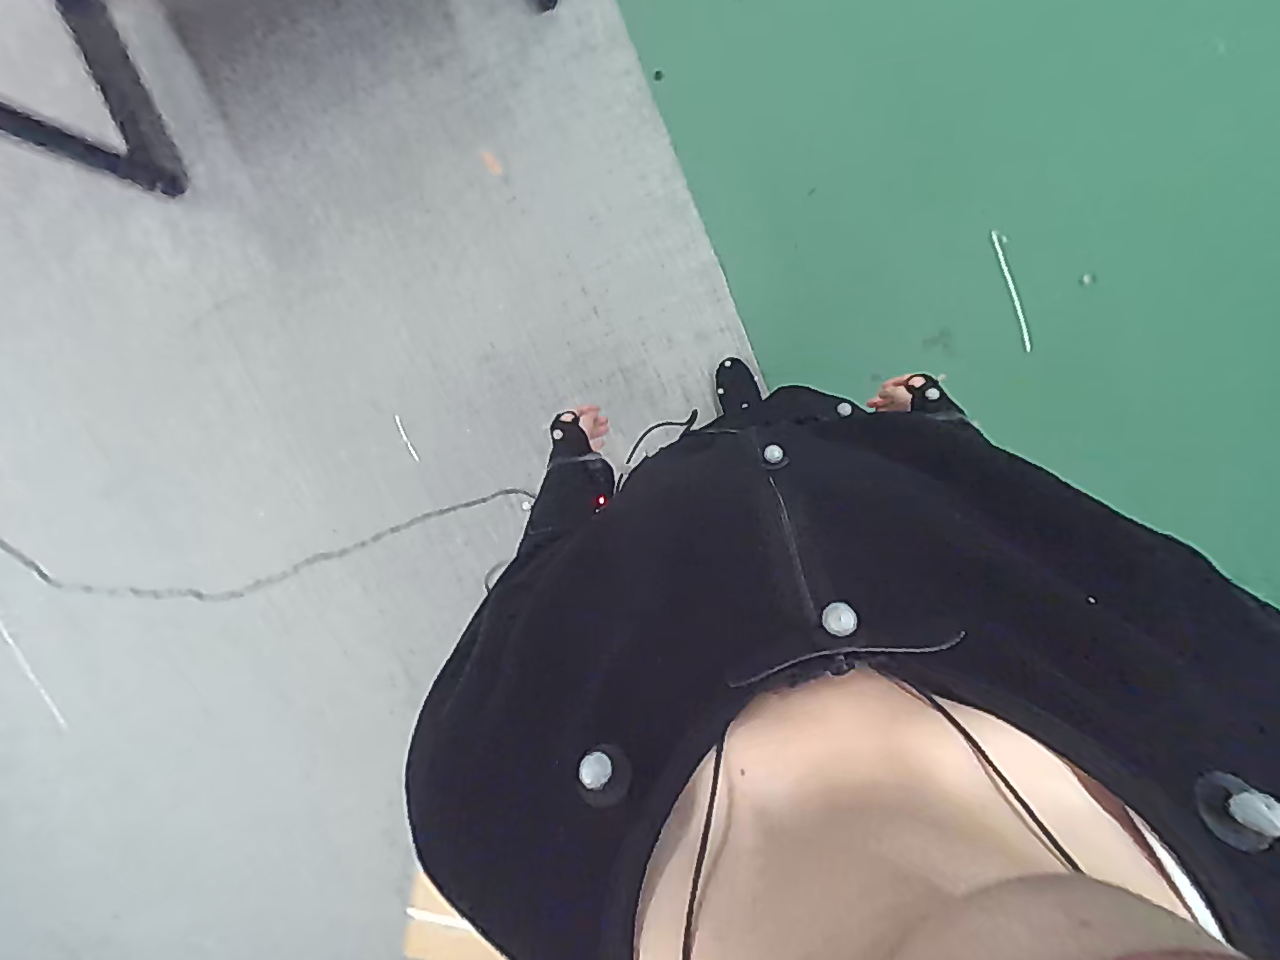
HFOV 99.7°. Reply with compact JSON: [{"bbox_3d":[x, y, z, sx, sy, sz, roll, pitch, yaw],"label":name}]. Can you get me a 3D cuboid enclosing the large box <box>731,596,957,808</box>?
[{"bbox_3d":[0.499,0.577,1.413,0.408,0.320,0.320,-36,95,7],"label":"large box"}]
